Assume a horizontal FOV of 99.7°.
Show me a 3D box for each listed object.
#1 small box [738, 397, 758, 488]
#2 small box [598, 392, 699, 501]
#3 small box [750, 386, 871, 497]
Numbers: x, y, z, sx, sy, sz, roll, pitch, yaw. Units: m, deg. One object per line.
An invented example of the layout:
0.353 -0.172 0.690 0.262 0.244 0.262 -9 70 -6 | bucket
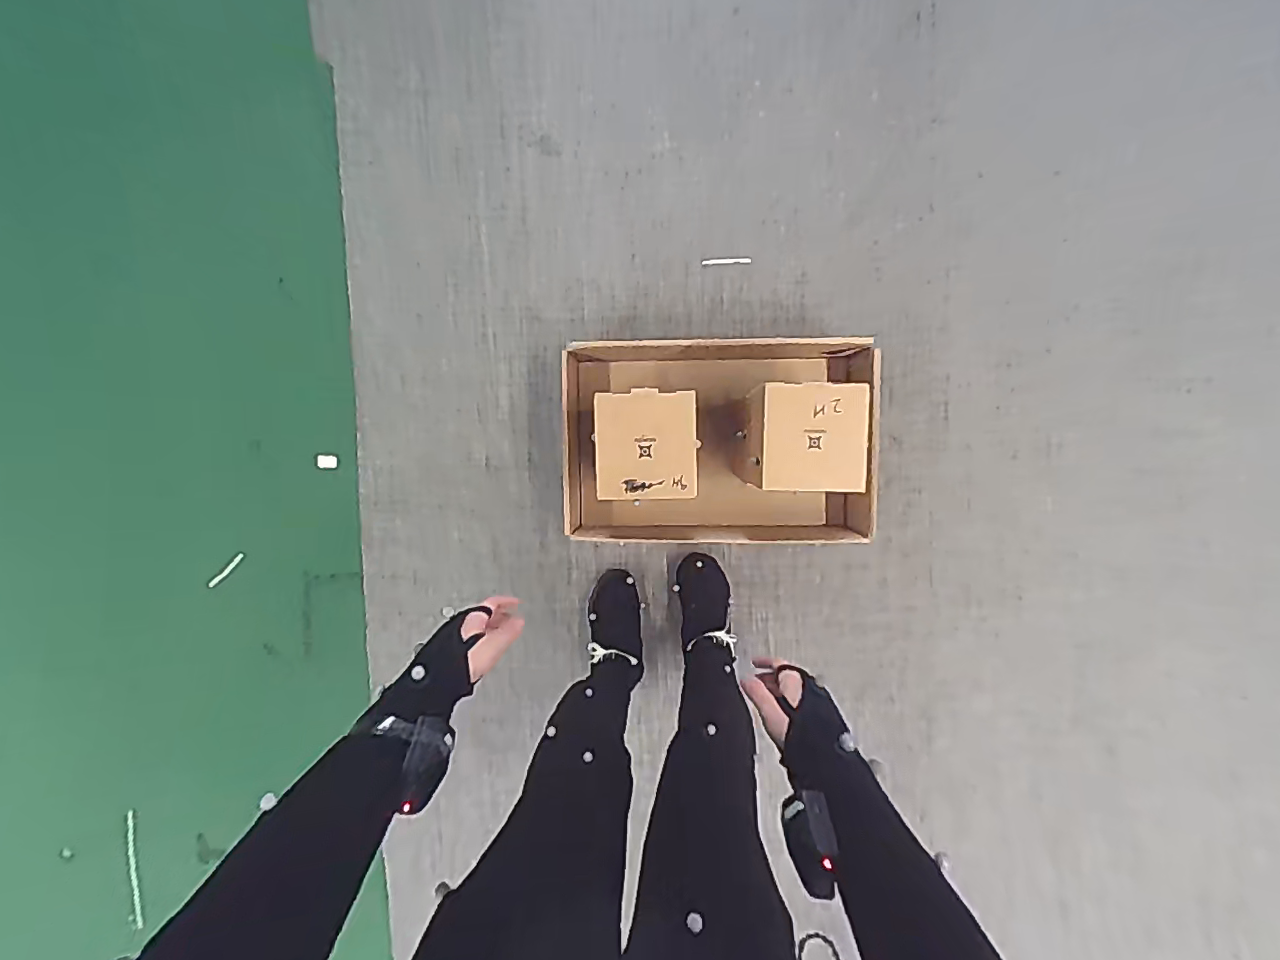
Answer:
0.294 -0.076 1.105 0.168 0.176 0.179 1 94 4 | small box
0.015 -0.057 0.951 0.168 0.176 0.179 -1 94 3 | small box
0.286 -0.067 0.940 0.168 0.176 0.179 1 94 3 | small box
